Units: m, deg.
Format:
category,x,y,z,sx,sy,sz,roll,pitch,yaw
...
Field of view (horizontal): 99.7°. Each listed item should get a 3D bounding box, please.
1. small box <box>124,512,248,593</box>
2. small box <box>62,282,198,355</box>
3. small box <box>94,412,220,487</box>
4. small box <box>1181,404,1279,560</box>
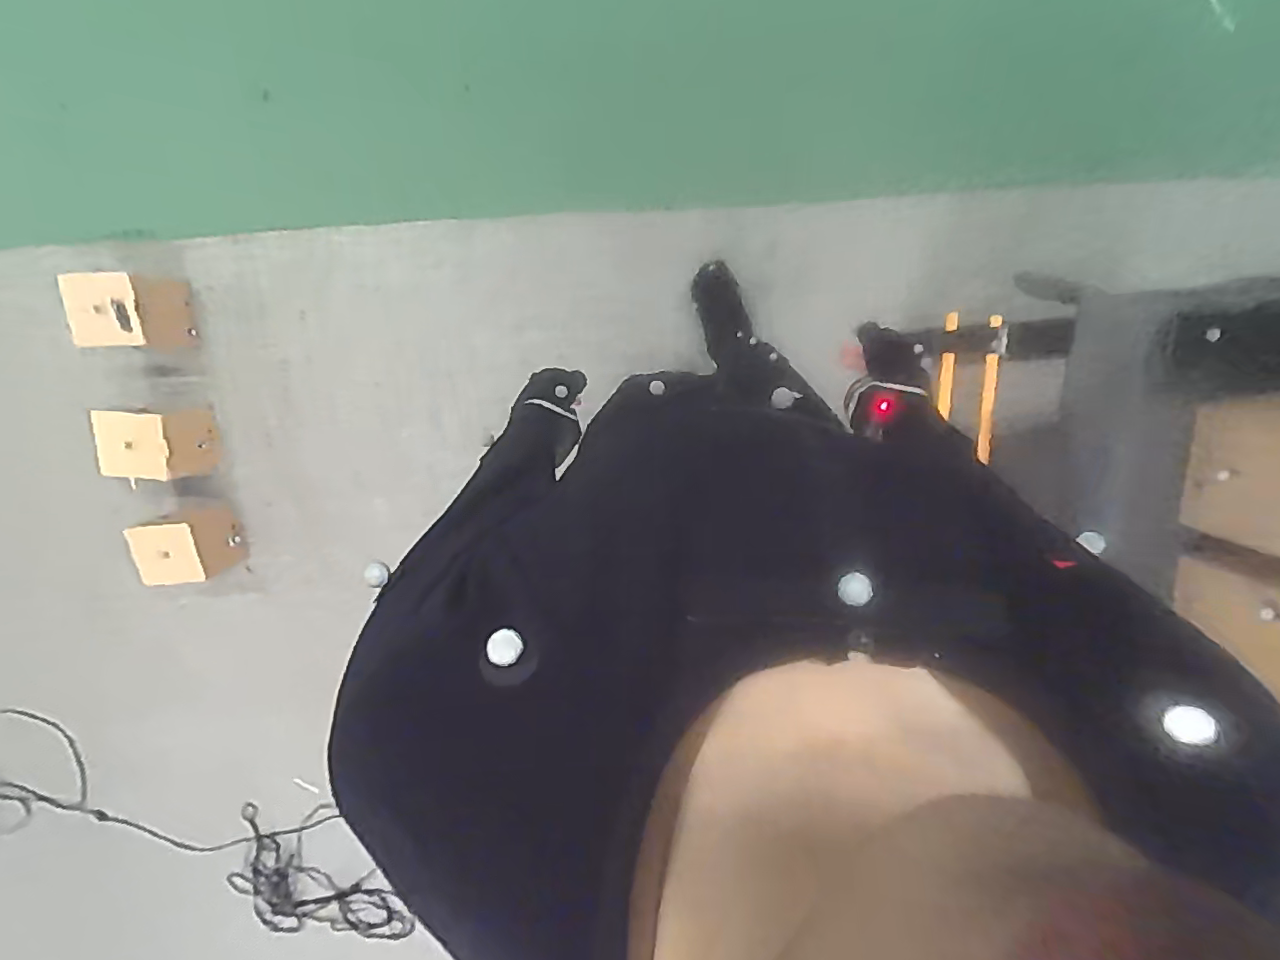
category,x,y,z,sx,sy,sz,roll,pitch,yaw
small box,-1.225,0.193,1.472,0.179,0.176,0.168,-6,105,1
small box,-1.244,-0.396,1.339,0.179,0.176,0.168,-1,103,2
small box,-1.250,-0.085,1.410,0.179,0.176,0.168,4,103,0
small box,0.814,-0.001,0.636,0.179,0.176,0.168,-5,103,2
